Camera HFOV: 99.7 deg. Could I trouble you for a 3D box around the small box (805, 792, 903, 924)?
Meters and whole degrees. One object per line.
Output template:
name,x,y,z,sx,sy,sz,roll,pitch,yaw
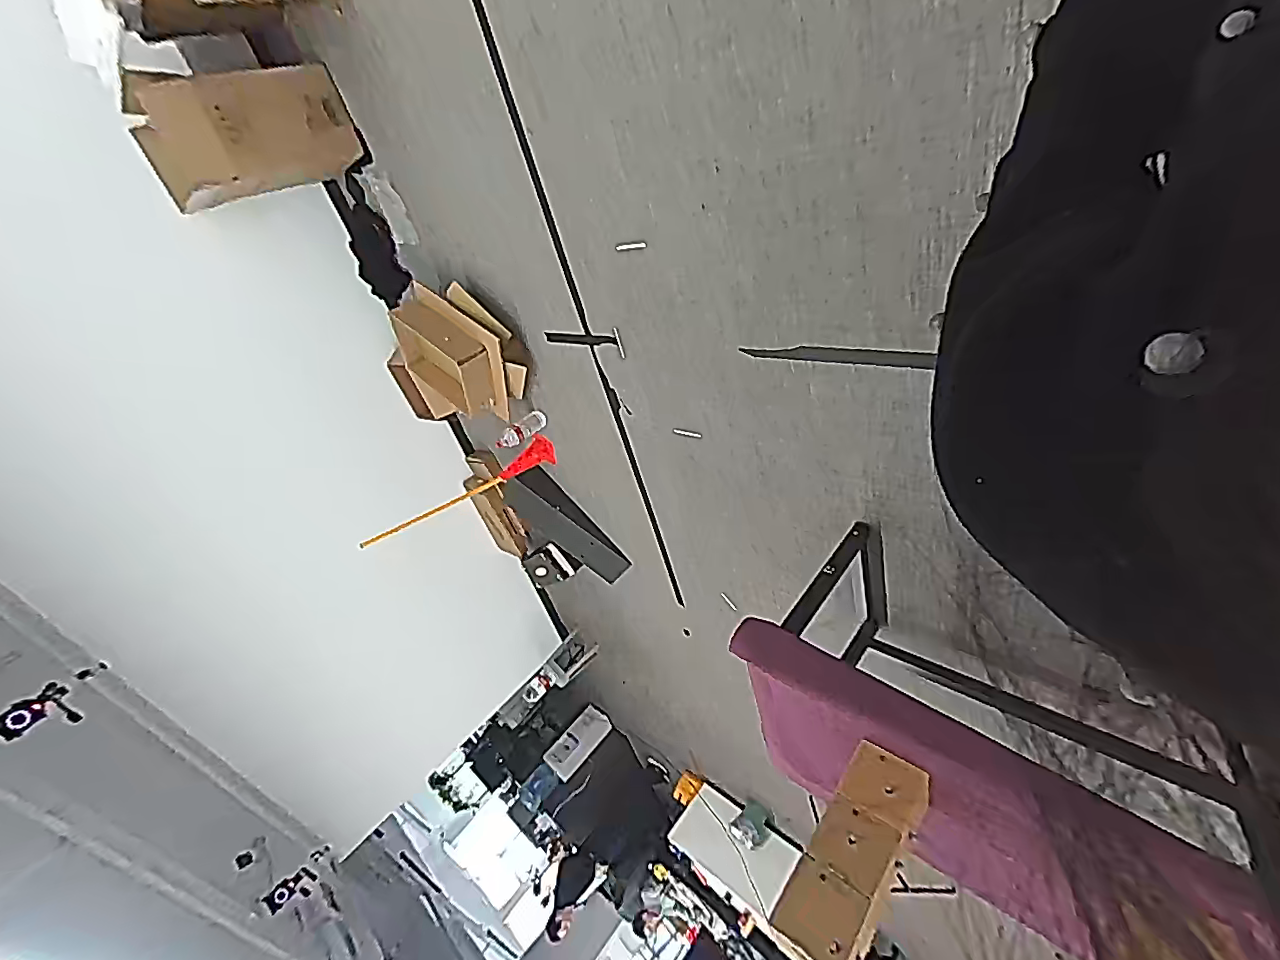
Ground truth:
small box,0.519,0.904,1.308,0.168,0.176,0.179,17,136,41

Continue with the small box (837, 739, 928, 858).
small box,0.625,0.809,1.389,0.168,0.176,0.179,16,136,42

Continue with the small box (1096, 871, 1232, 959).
small box,0.983,0.897,1.024,0.168,0.176,0.179,13,135,46
